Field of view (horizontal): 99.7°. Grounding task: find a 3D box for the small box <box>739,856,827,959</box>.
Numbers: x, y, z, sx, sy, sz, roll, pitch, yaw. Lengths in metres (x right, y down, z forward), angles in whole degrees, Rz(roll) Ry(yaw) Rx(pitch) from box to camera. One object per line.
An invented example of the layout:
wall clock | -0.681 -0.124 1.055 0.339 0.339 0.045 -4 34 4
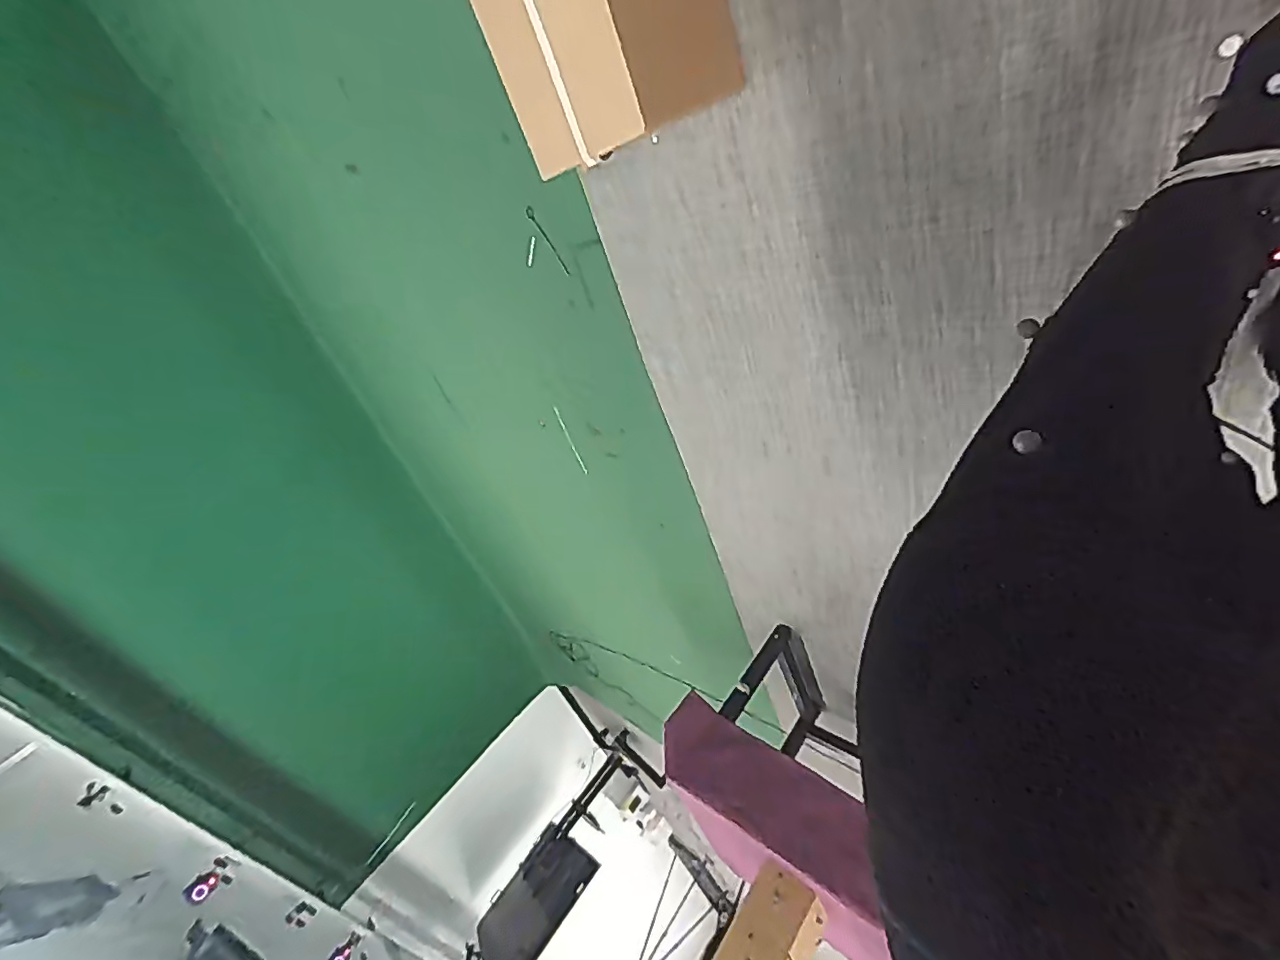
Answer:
small box | 0.412 1.229 1.546 0.168 0.176 0.179 11 135 45

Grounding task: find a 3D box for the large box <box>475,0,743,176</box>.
large box | -0.062 -0.843 0.979 0.320 0.320 0.408 12 134 45

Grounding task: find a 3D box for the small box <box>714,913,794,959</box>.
small box | 0.312 1.329 1.461 0.168 0.176 0.179 11 135 46
